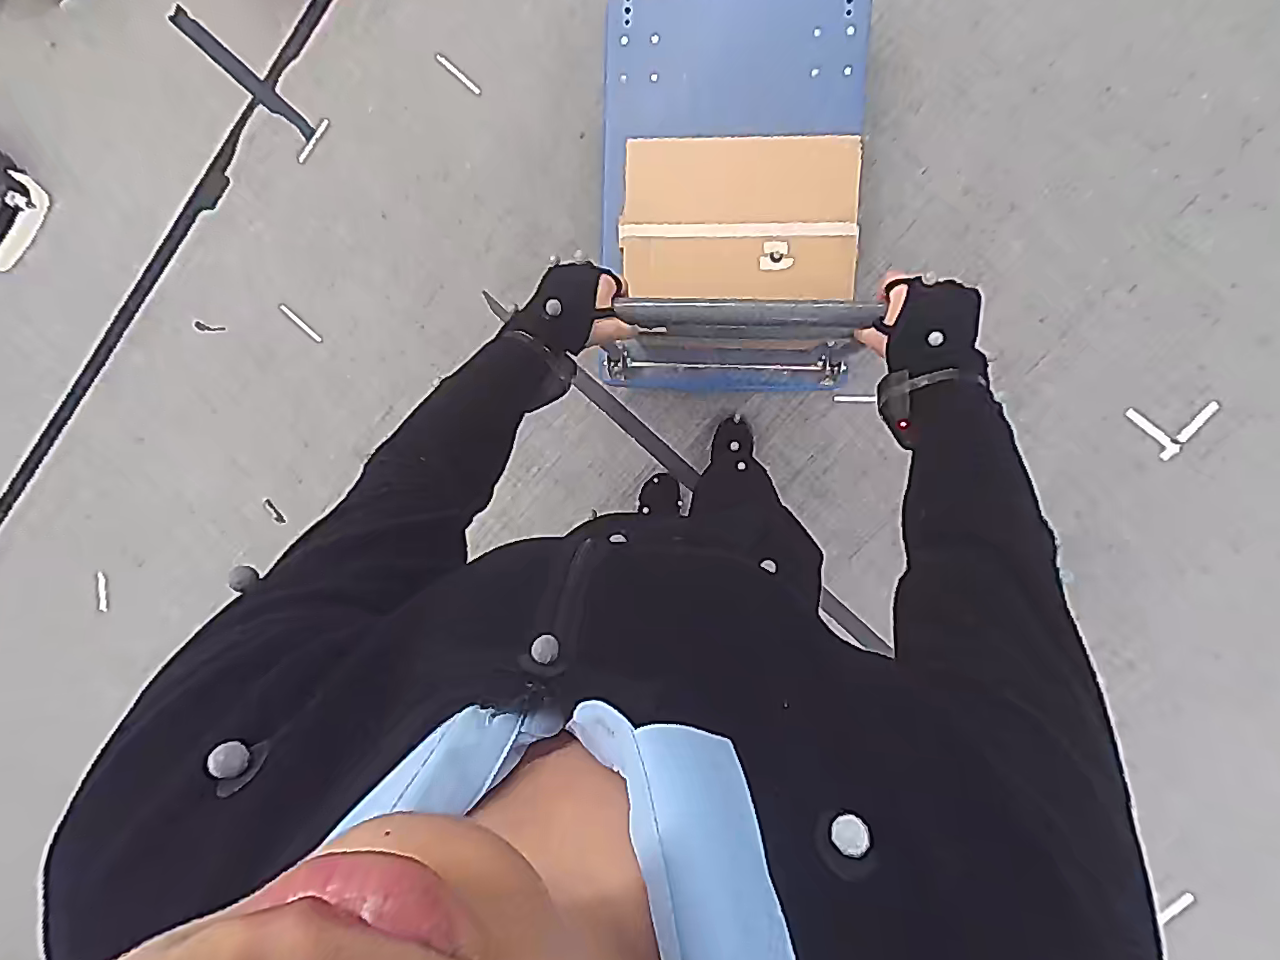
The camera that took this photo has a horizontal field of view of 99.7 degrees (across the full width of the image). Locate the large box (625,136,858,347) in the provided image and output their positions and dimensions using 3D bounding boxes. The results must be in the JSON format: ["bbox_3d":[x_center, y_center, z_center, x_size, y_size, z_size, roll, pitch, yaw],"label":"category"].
[{"bbox_3d":[0.182,-0.451,1.097,0.408,0.320,0.320,2,96,4],"label":"large box"}]
